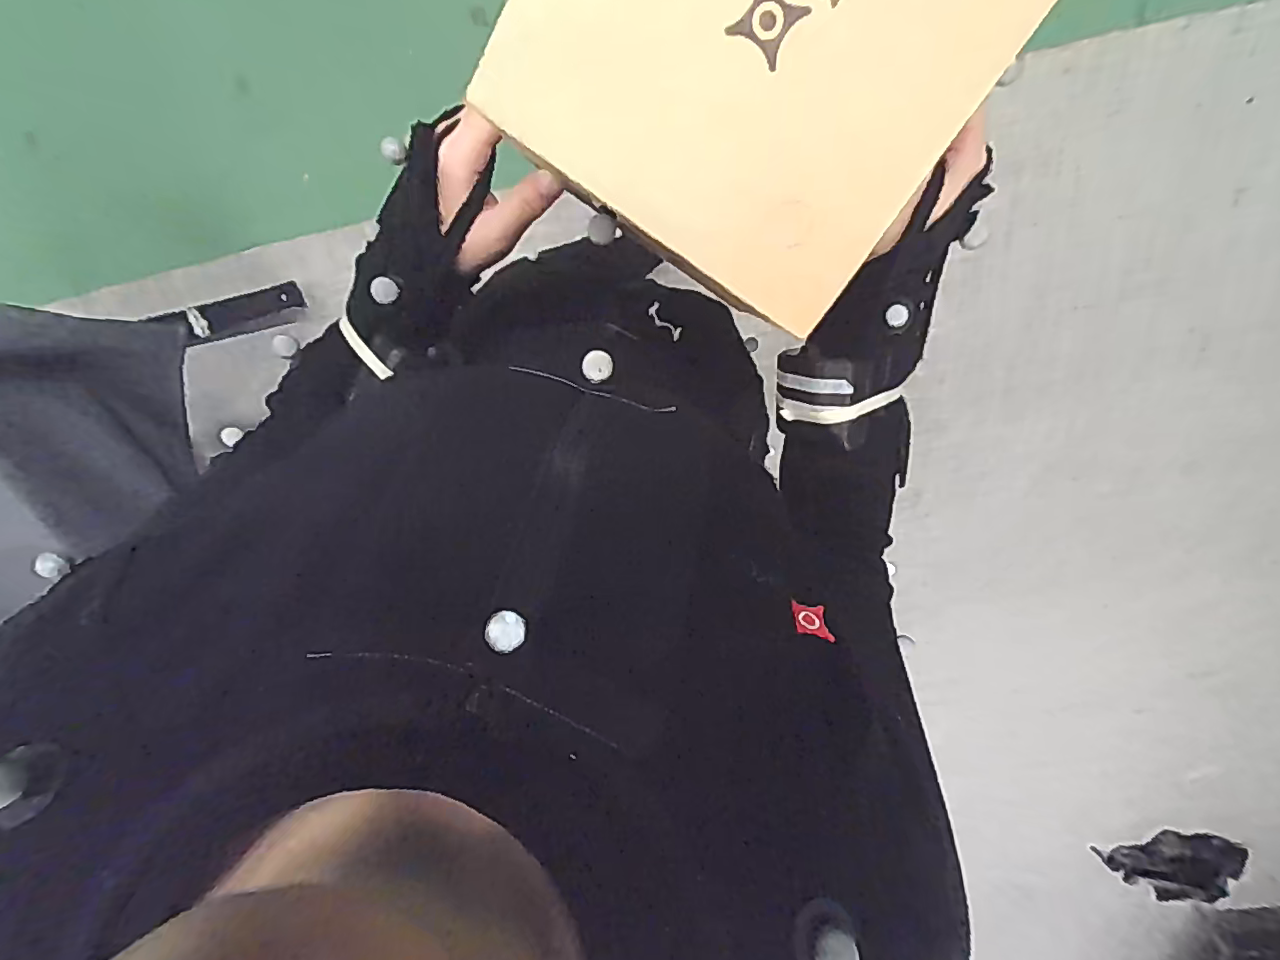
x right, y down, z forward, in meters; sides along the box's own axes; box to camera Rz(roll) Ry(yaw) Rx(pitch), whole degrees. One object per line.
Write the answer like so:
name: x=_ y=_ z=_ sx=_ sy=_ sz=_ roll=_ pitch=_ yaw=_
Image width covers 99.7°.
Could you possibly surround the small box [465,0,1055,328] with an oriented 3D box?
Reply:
small box: x=0.050 y=-0.198 z=0.260 sx=0.168 sy=0.176 sz=0.179 roll=31 pitch=108 yaw=-10
